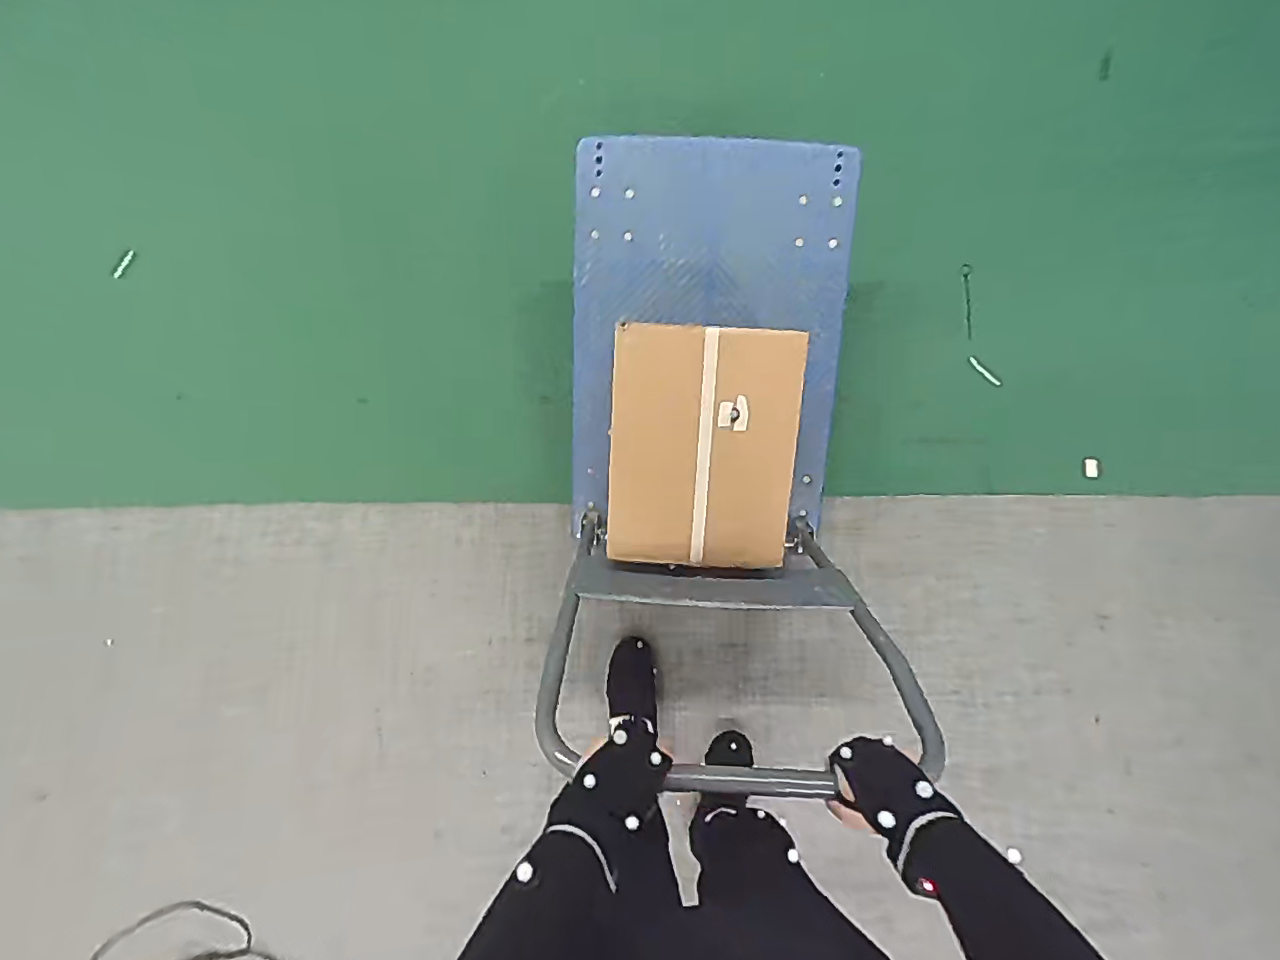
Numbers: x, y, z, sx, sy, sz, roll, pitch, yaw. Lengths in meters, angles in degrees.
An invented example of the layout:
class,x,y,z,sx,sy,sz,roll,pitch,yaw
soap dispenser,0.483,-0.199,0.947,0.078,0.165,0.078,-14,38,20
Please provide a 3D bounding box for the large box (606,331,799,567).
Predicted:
class,x,y,z,sx,sy,sz,roll,pitch,yaw
large box,0.105,-0.073,1.068,0.320,0.320,0.408,3,102,0
